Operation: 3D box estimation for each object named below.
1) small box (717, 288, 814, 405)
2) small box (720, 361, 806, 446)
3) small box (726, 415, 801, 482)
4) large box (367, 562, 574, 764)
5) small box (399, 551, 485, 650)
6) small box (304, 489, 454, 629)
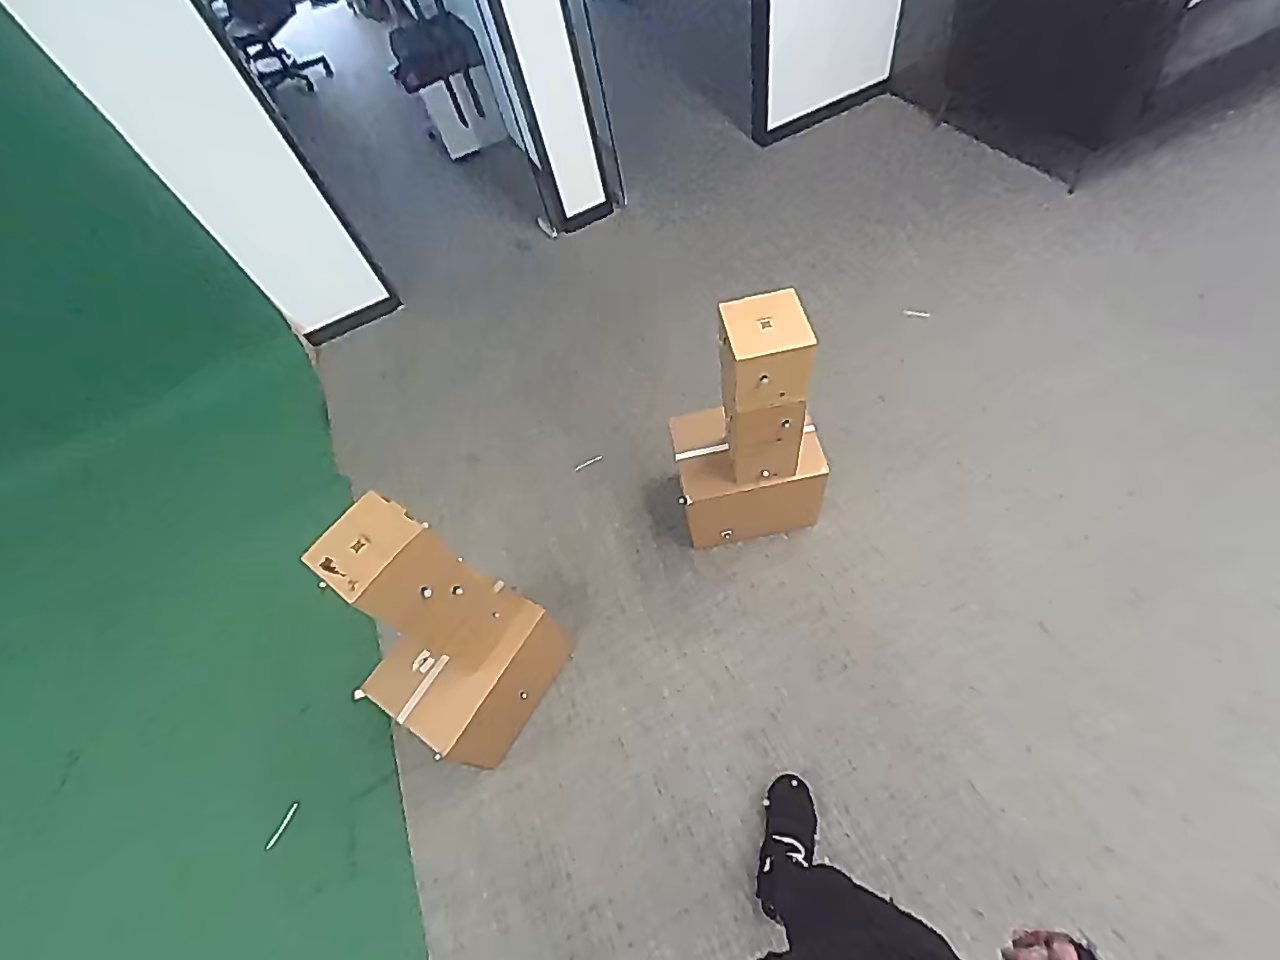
[{"bbox_3d":[0.270,-0.283,1.183,0.168,0.176,0.179,-11,57,4],"label":"small box"},{"bbox_3d":[0.296,-0.198,1.318,0.168,0.176,0.179,-11,57,4],"label":"small box"},{"bbox_3d":[0.325,-0.118,1.457,0.168,0.176,0.179,-10,58,5],"label":"small box"},{"bbox_3d":[-0.444,0.508,1.508,0.320,0.320,0.408,22,66,25],"label":"large box"},{"bbox_3d":[-0.467,0.242,1.189,0.168,0.176,0.179,28,67,26],"label":"small box"},{"bbox_3d":[-0.491,0.155,1.051,0.168,0.176,0.179,28,66,26],"label":"small box"}]
